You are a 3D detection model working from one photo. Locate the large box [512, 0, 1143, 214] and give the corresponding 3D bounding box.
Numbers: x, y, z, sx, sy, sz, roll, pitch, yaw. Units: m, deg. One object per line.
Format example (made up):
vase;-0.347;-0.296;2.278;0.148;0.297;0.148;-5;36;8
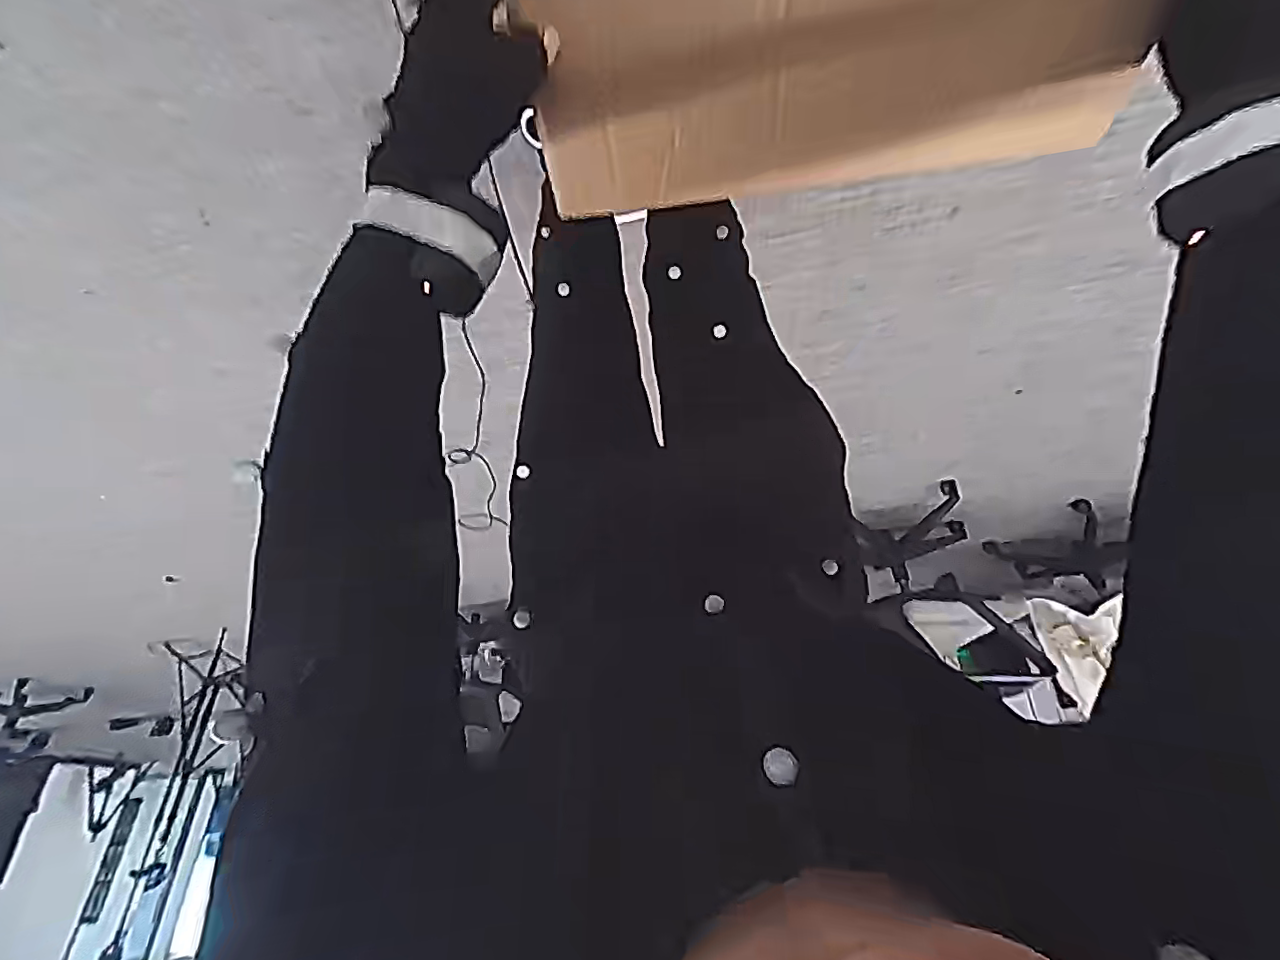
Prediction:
large box;0.111;-0.445;0.385;0.408;0.320;0.320;-5;145;4
